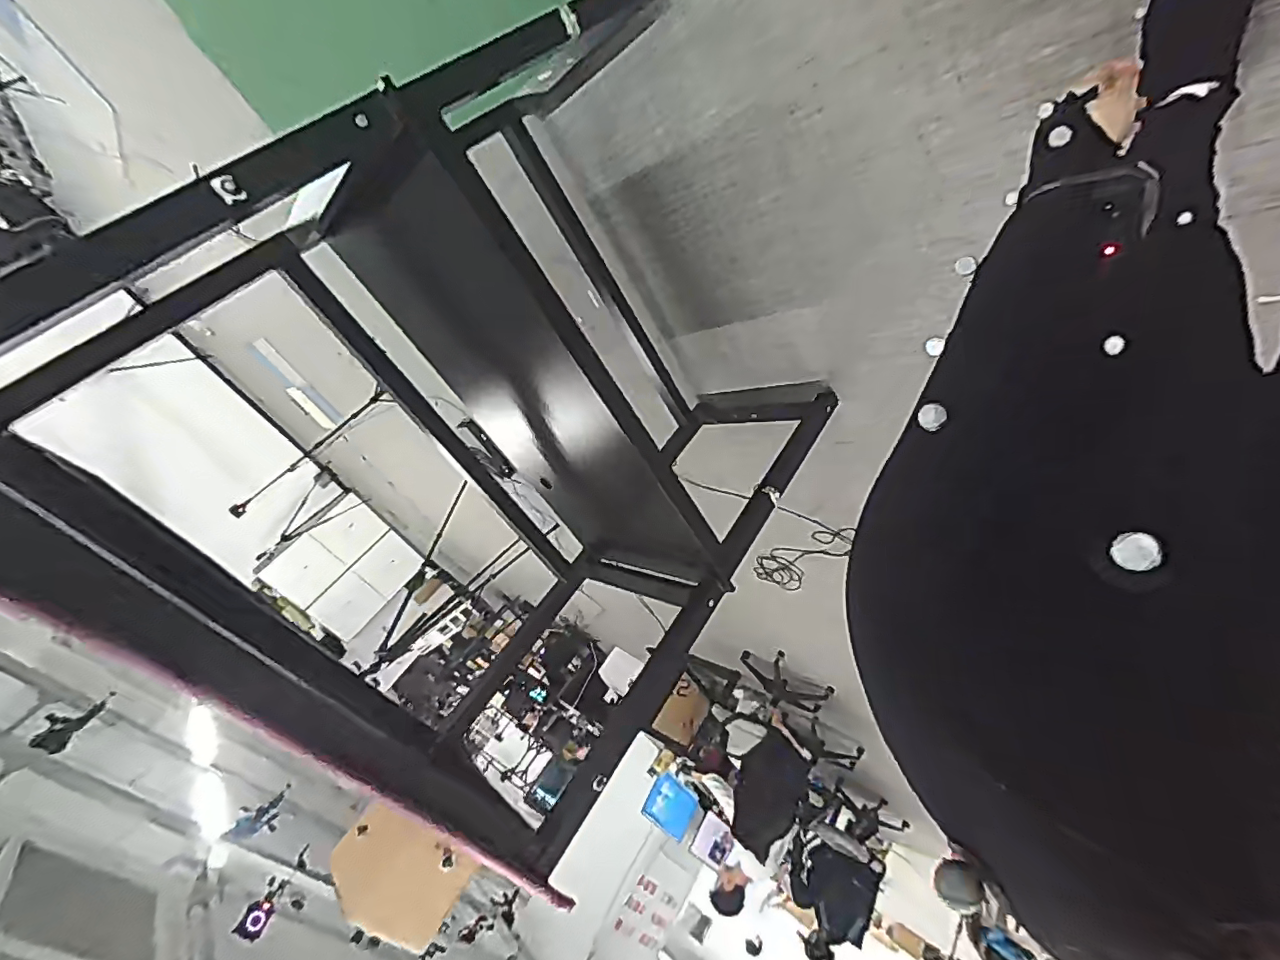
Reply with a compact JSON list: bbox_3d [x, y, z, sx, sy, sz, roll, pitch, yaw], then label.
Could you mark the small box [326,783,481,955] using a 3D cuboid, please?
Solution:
[{"bbox_3d":[-0.417,0.680,0.969,0.179,0.176,0.168,-1,134,51],"label":"small box"}]
